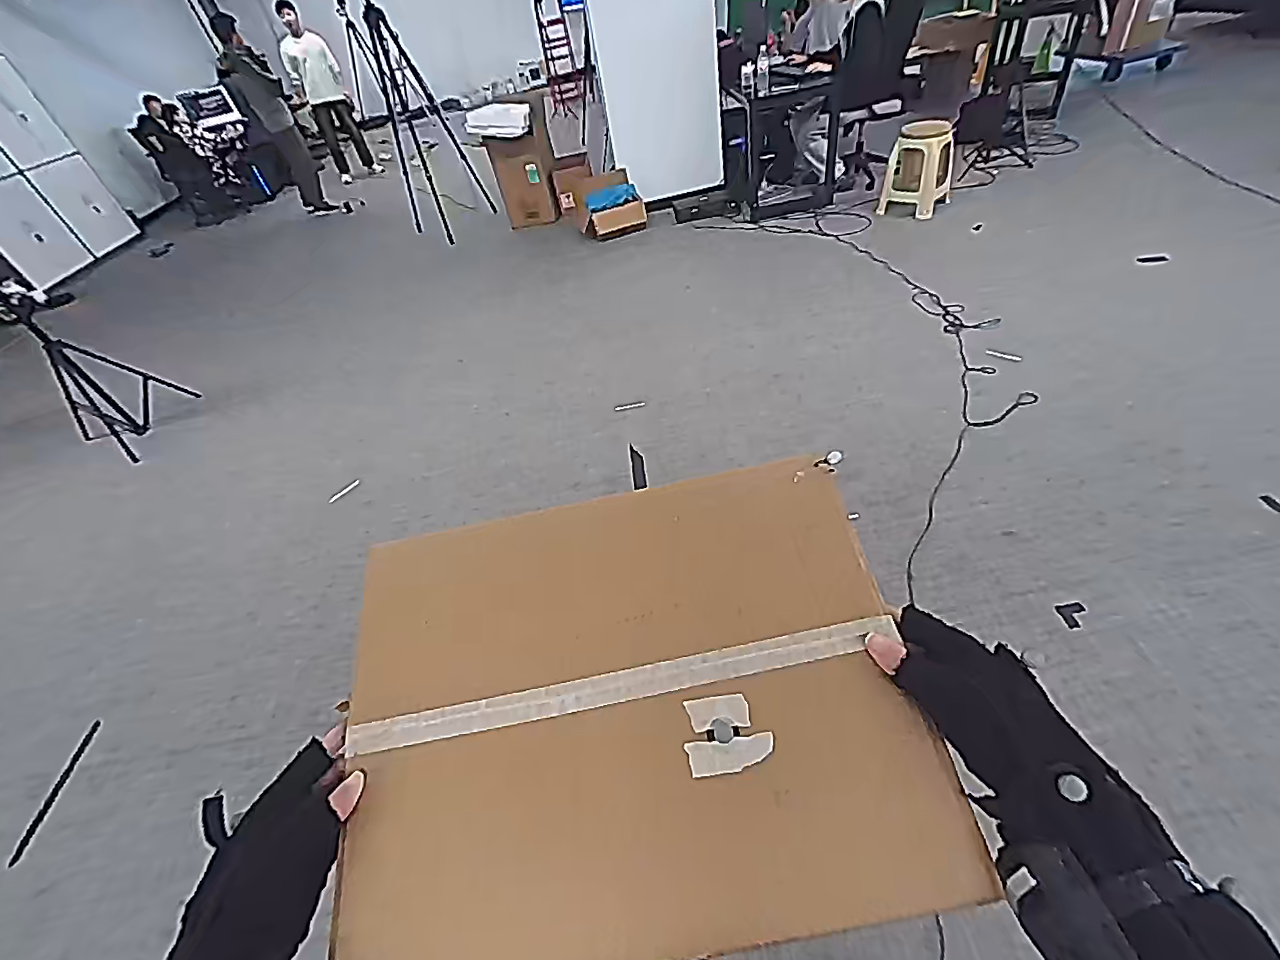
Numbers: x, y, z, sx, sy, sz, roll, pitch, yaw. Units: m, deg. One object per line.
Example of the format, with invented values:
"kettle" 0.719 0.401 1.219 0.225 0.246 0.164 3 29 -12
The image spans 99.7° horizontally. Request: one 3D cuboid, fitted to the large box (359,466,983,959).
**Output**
"large box" 0.008 0.232 0.533 0.408 0.320 0.320 -12 60 0
